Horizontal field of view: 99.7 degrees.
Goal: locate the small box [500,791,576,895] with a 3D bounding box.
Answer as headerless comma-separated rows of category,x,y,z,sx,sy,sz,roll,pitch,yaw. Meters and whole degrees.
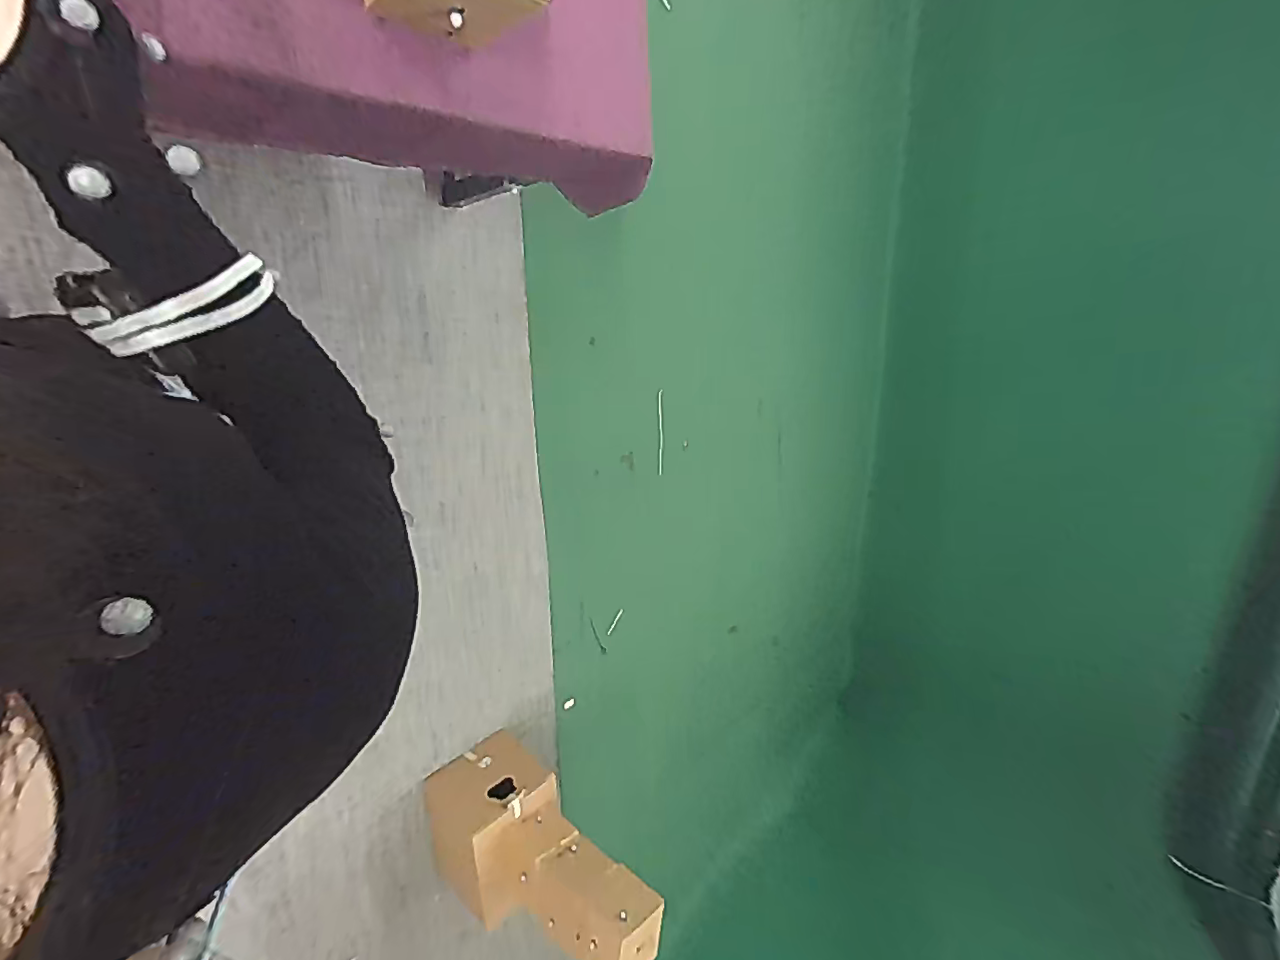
small box,-0.323,1.130,1.700,0.168,0.176,0.179,-5,104,-48

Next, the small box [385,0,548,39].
small box,-0.229,-0.680,0.653,0.168,0.176,0.179,-20,115,-44

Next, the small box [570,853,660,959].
small box,-0.072,1.194,1.500,0.179,0.176,0.168,1,100,-50

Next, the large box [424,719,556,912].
large box,-0.505,1.134,1.869,0.320,0.320,0.408,-20,116,-44

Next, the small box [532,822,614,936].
small box,-0.200,1.169,1.601,0.168,0.176,0.179,0,100,-50
